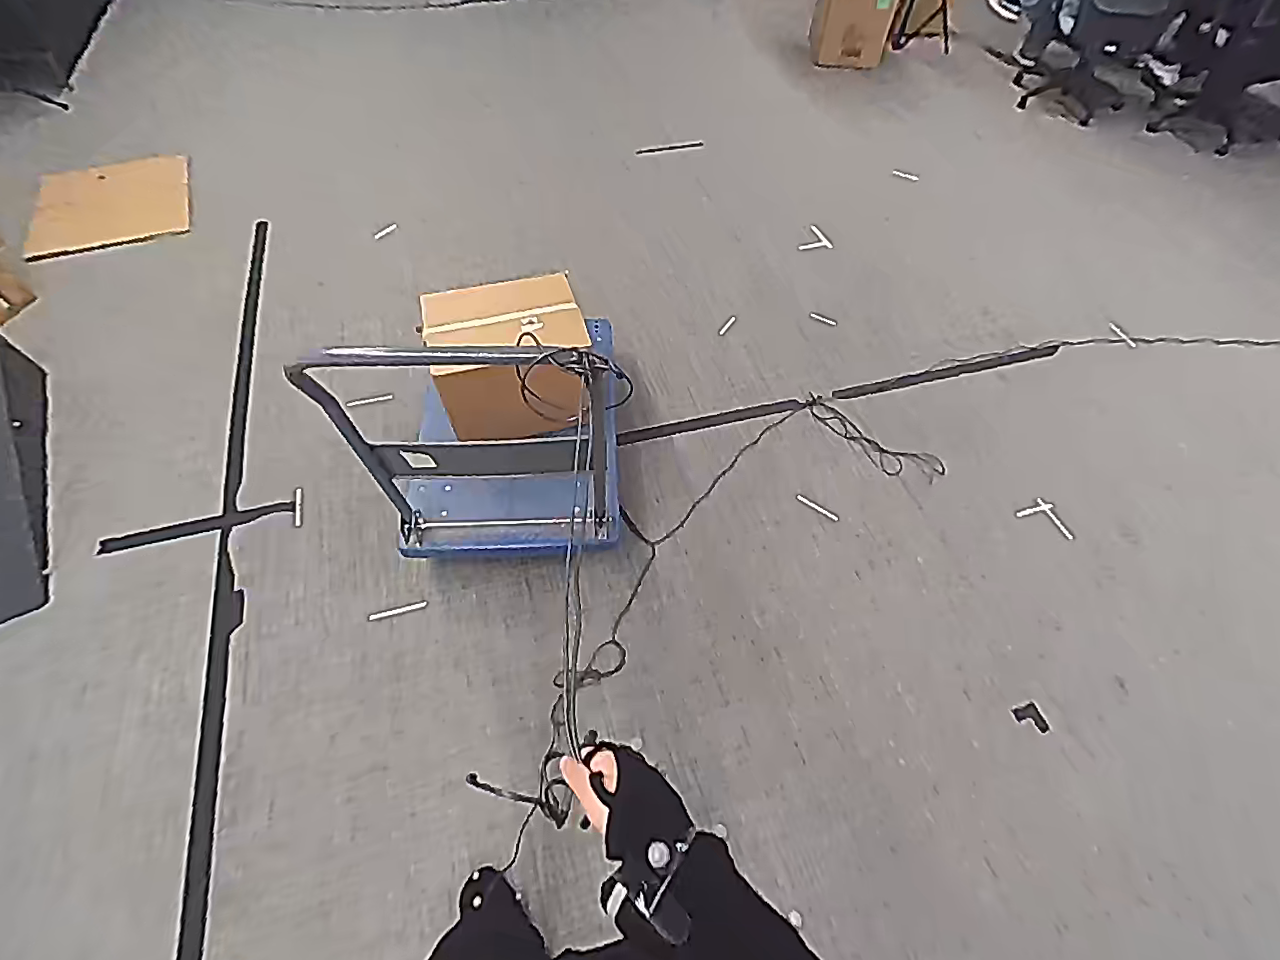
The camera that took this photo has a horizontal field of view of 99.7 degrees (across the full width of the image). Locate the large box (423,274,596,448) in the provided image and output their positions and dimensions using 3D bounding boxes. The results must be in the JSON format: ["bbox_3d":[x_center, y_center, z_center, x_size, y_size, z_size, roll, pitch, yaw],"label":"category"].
[{"bbox_3d":[-0.357,-0.334,1.535,0.408,0.320,0.320,-13,59,-11],"label":"large box"}]
